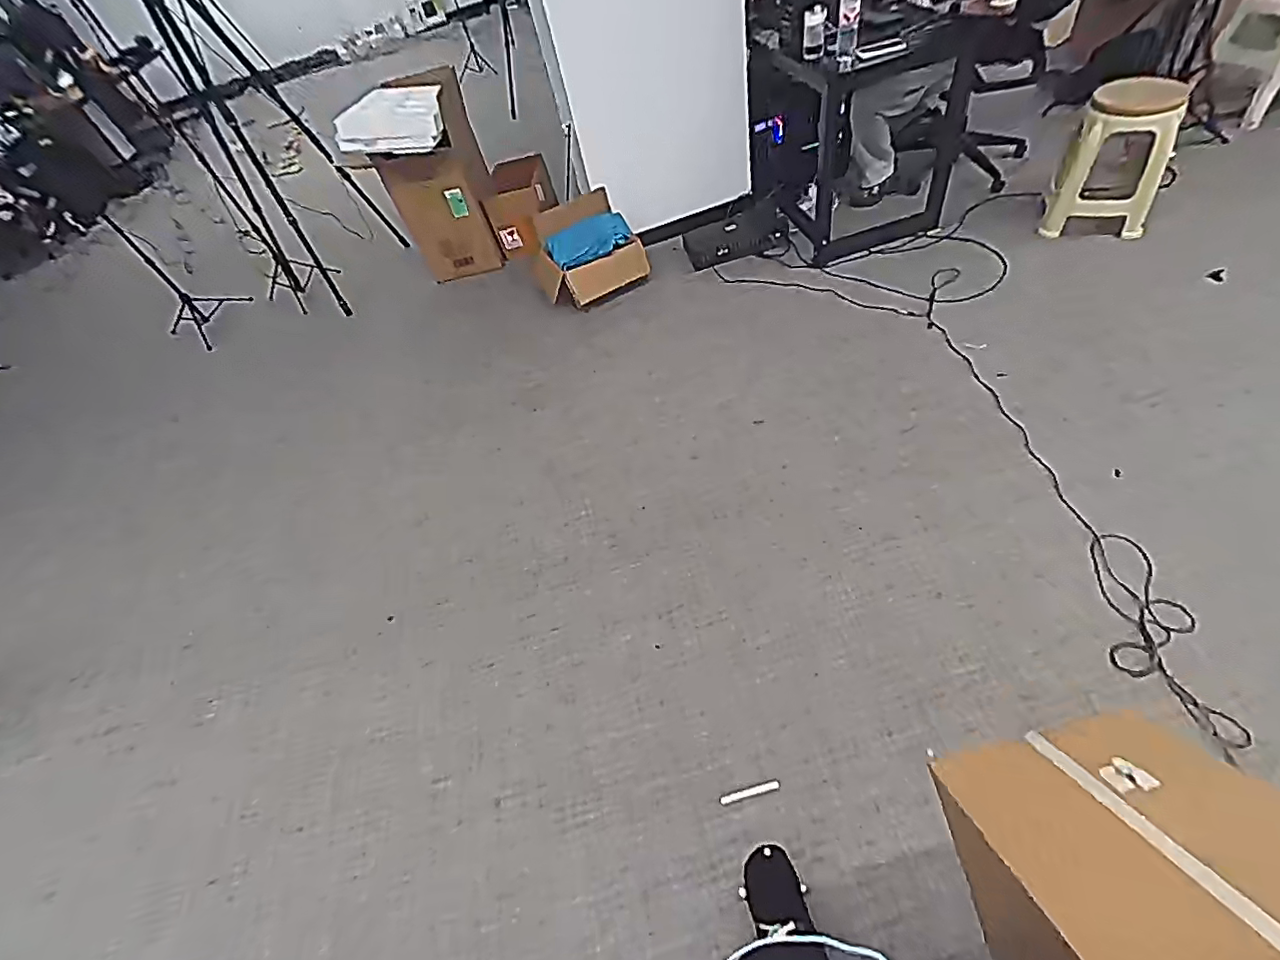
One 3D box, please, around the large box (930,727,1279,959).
[{"bbox_3d":[0.629,0.565,0.639,0.320,0.408,0.320,-16,89,5],"label":"large box"}]
